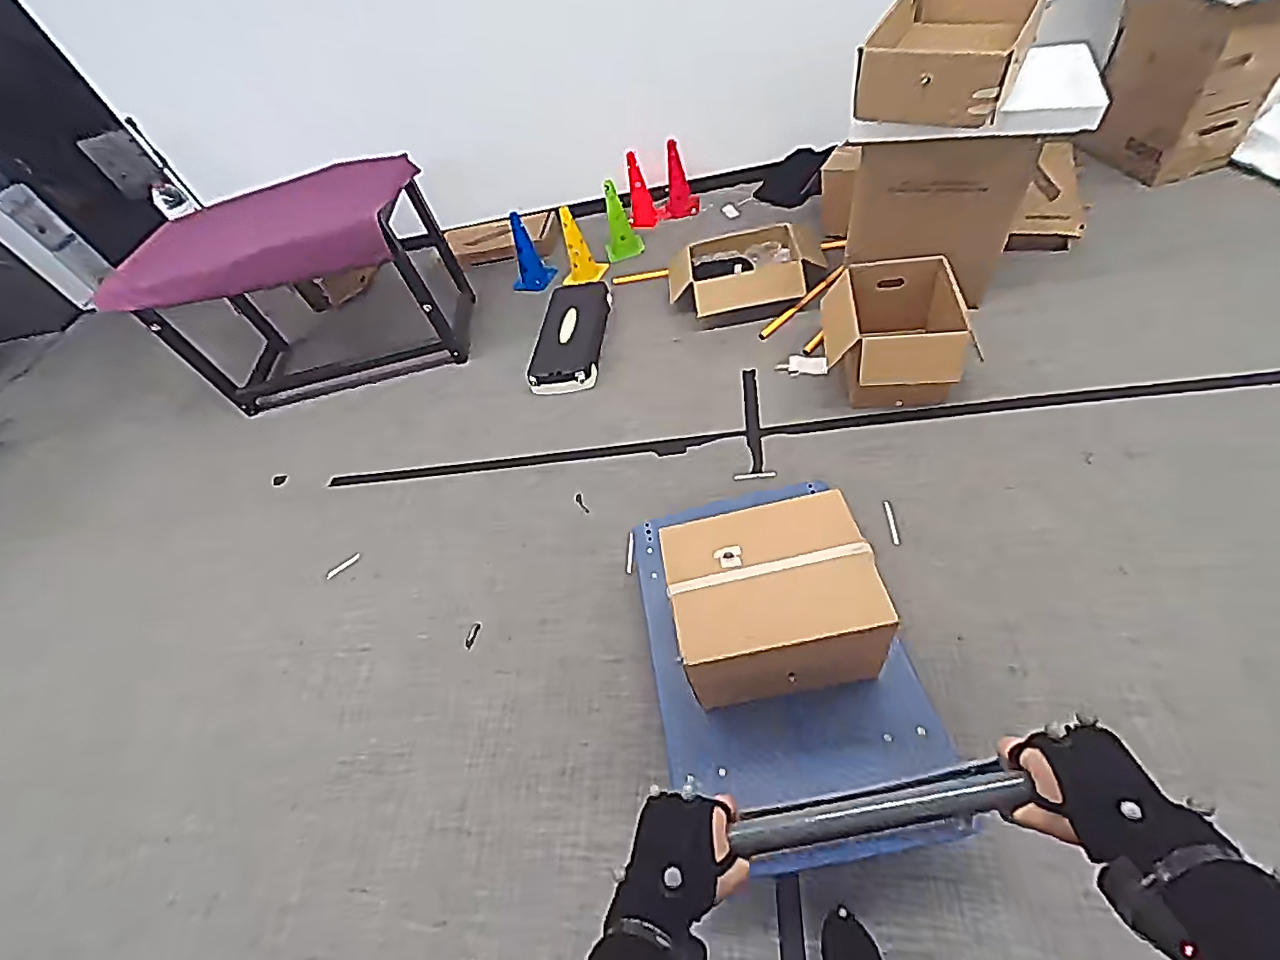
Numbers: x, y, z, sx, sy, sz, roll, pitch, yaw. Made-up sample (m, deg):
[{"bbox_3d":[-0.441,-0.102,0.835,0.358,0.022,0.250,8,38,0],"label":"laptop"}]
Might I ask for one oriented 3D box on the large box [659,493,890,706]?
[{"bbox_3d":[0.289,0.281,1.226,0.408,0.320,0.320,-14,50,6],"label":"large box"}]
